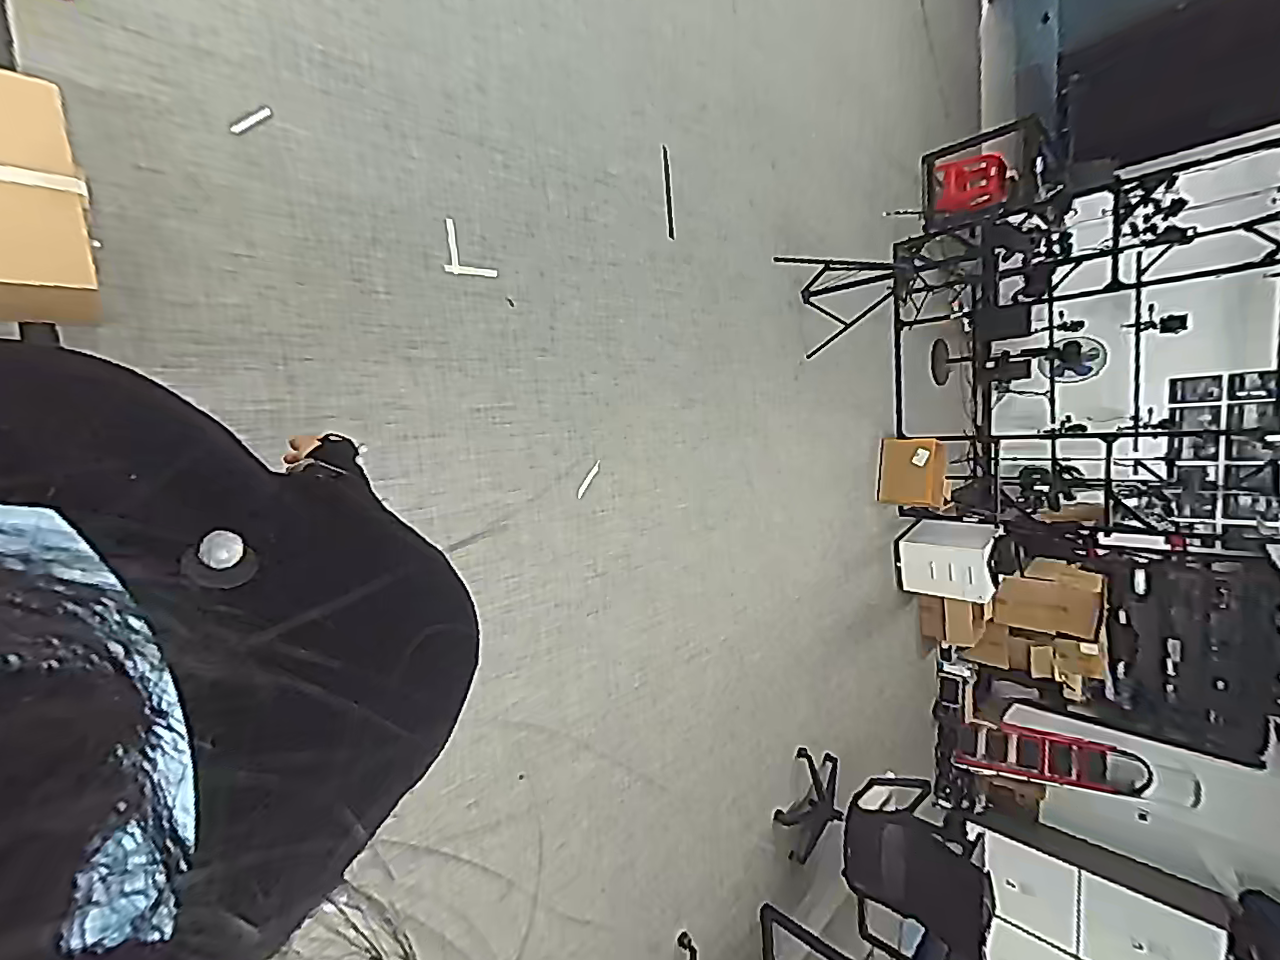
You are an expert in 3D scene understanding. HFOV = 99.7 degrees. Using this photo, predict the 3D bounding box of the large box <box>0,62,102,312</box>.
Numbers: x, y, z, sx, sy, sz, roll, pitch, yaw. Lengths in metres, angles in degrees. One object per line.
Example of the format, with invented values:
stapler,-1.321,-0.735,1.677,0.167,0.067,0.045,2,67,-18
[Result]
large box,-1.134,-0.448,0.826,0.408,0.320,0.320,-11,98,-43
